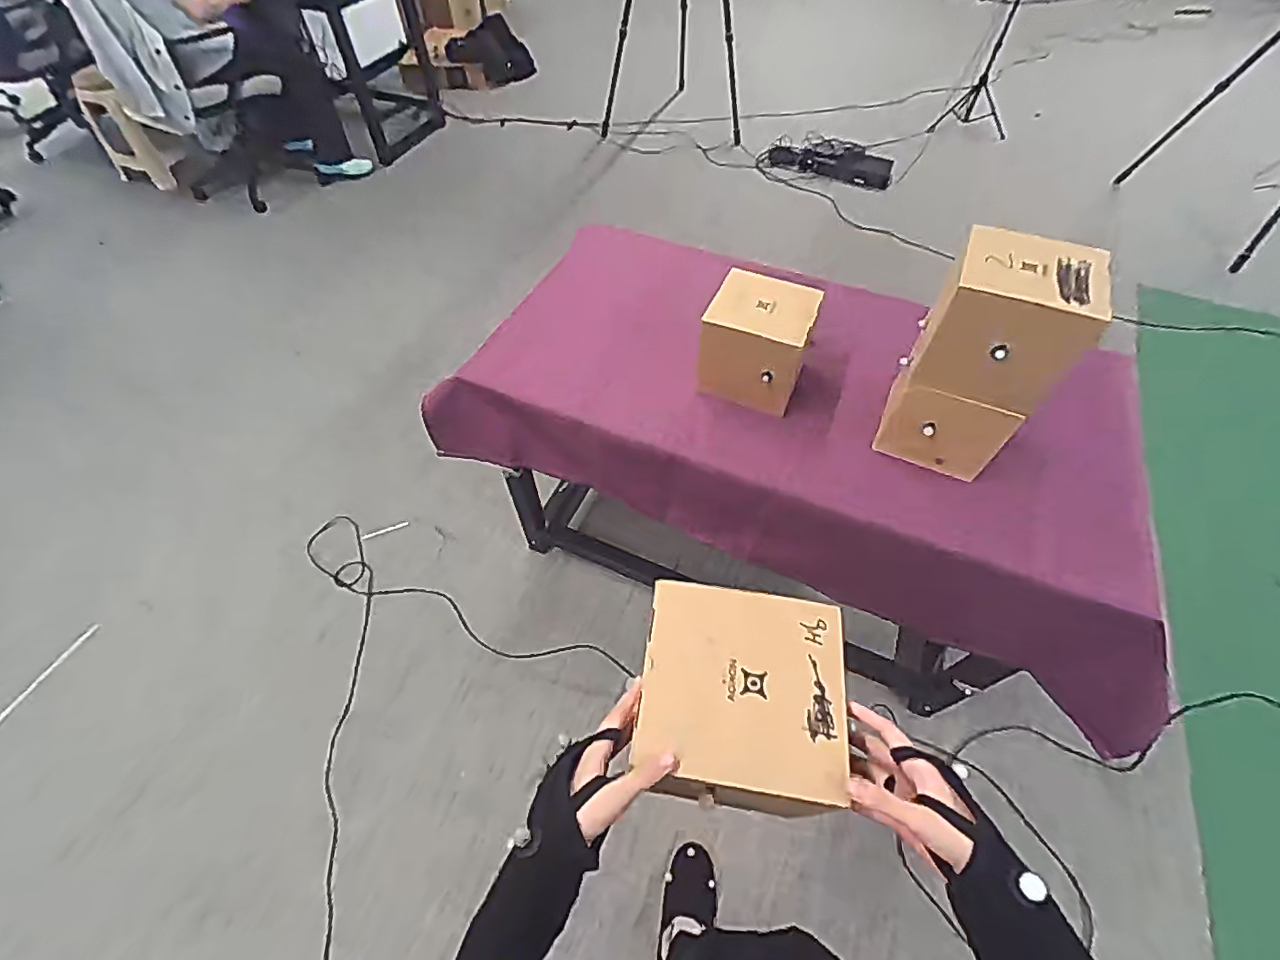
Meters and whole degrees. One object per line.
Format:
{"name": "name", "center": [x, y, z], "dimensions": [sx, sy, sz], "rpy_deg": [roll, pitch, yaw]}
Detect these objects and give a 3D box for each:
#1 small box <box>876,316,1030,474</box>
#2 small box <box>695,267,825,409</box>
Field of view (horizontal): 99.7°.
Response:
{"name": "small box", "center": [0.516, -0.139, 0.908], "dimensions": [0.168, 0.176, 0.179], "rpy_deg": [22, 57, 15]}
{"name": "small box", "center": [0.213, -0.255, 0.991], "dimensions": [0.179, 0.176, 0.168], "rpy_deg": [20, 56, 14]}
